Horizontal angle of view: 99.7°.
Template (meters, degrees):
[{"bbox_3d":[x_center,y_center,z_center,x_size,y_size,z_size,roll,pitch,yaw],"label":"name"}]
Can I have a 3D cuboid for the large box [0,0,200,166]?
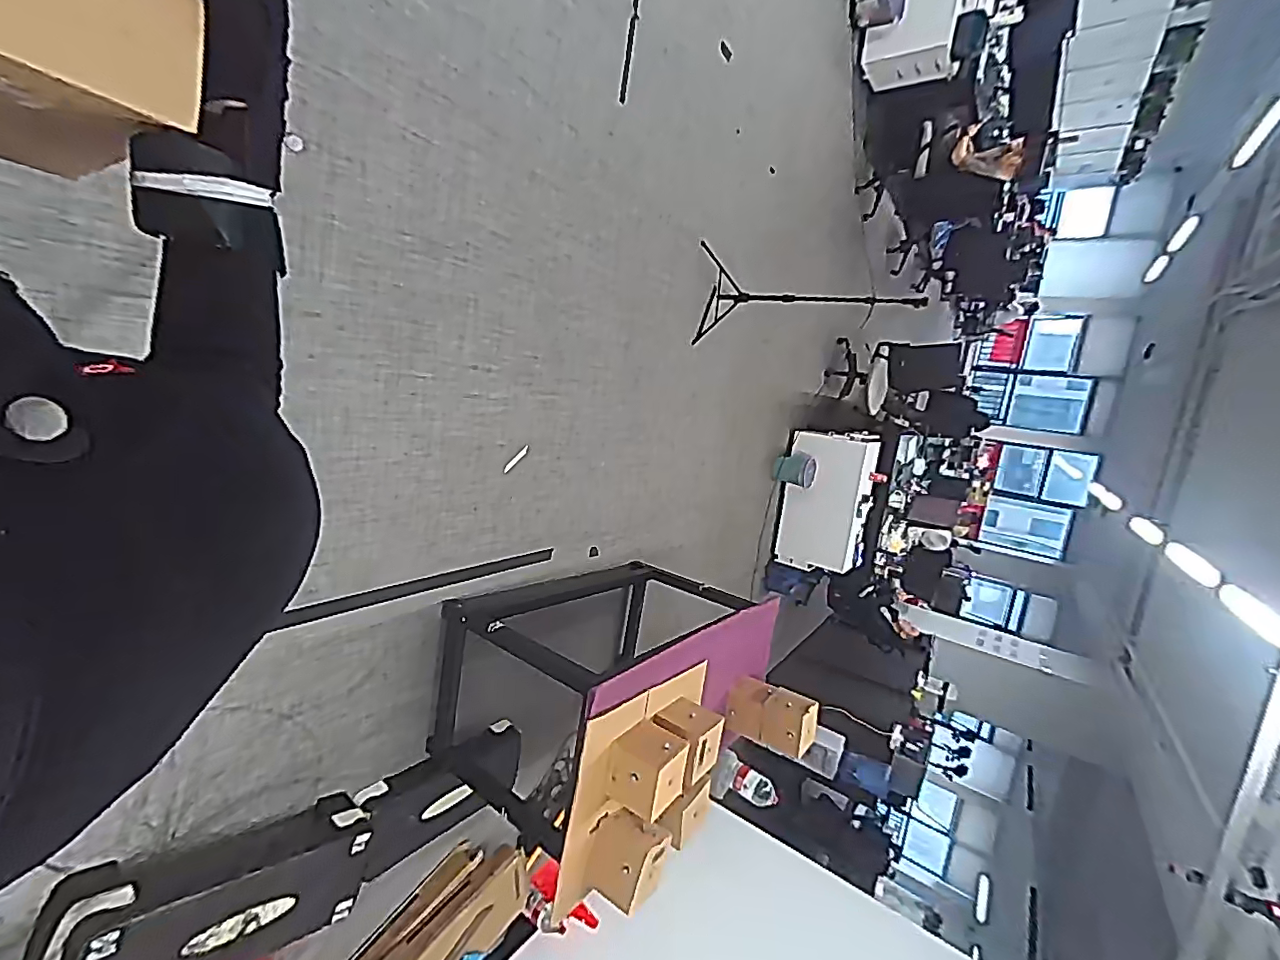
[{"bbox_3d":[-0.507,-0.409,0.255,0.408,0.320,0.320,-2,105,-57],"label":"large box"}]
